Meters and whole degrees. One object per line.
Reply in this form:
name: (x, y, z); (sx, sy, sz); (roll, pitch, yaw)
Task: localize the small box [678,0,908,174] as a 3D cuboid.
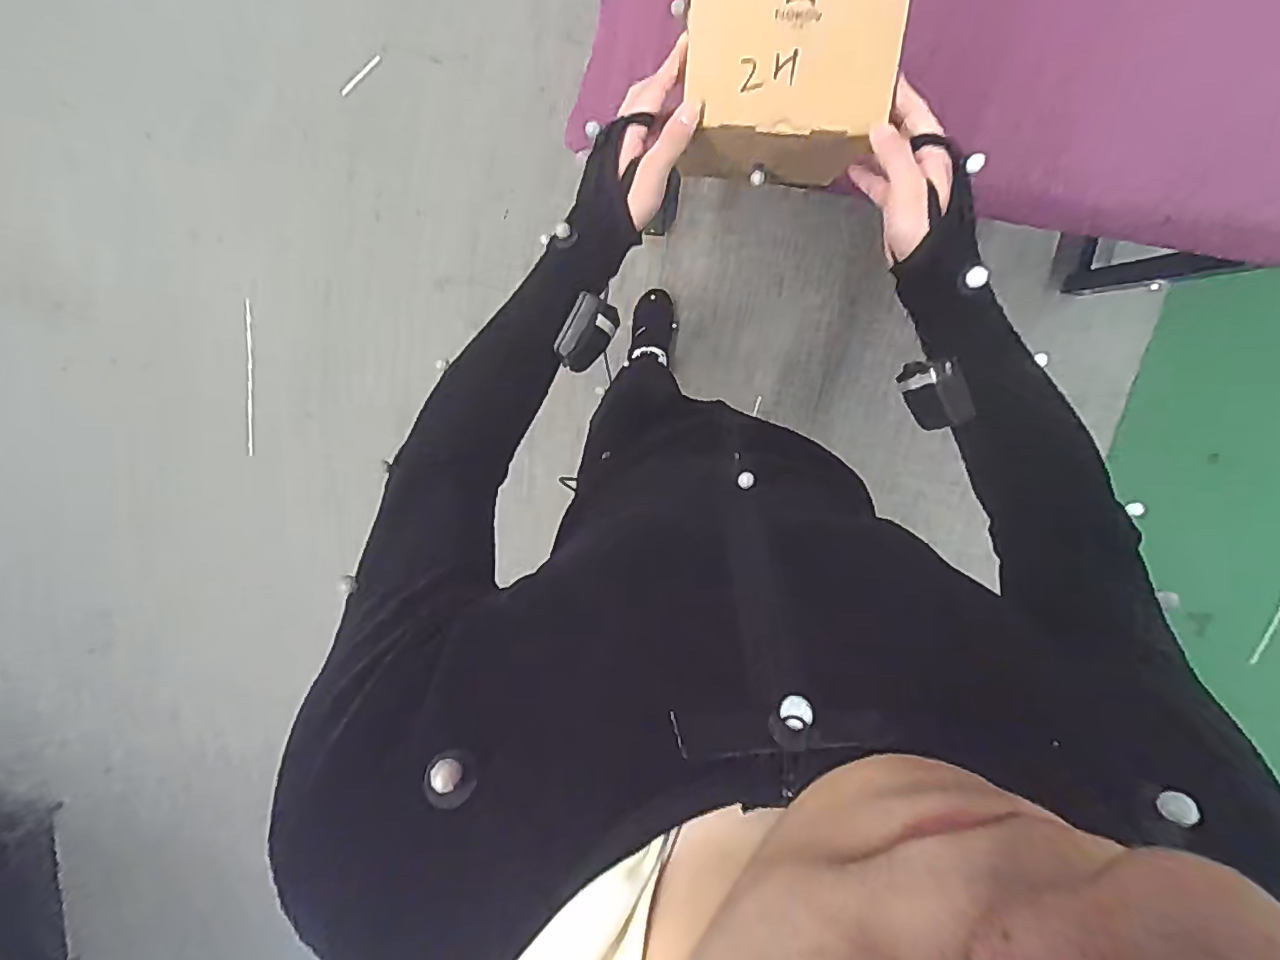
small box: (0.123, -0.394, 0.476); (0.168, 0.176, 0.179); (5, 107, 3)
